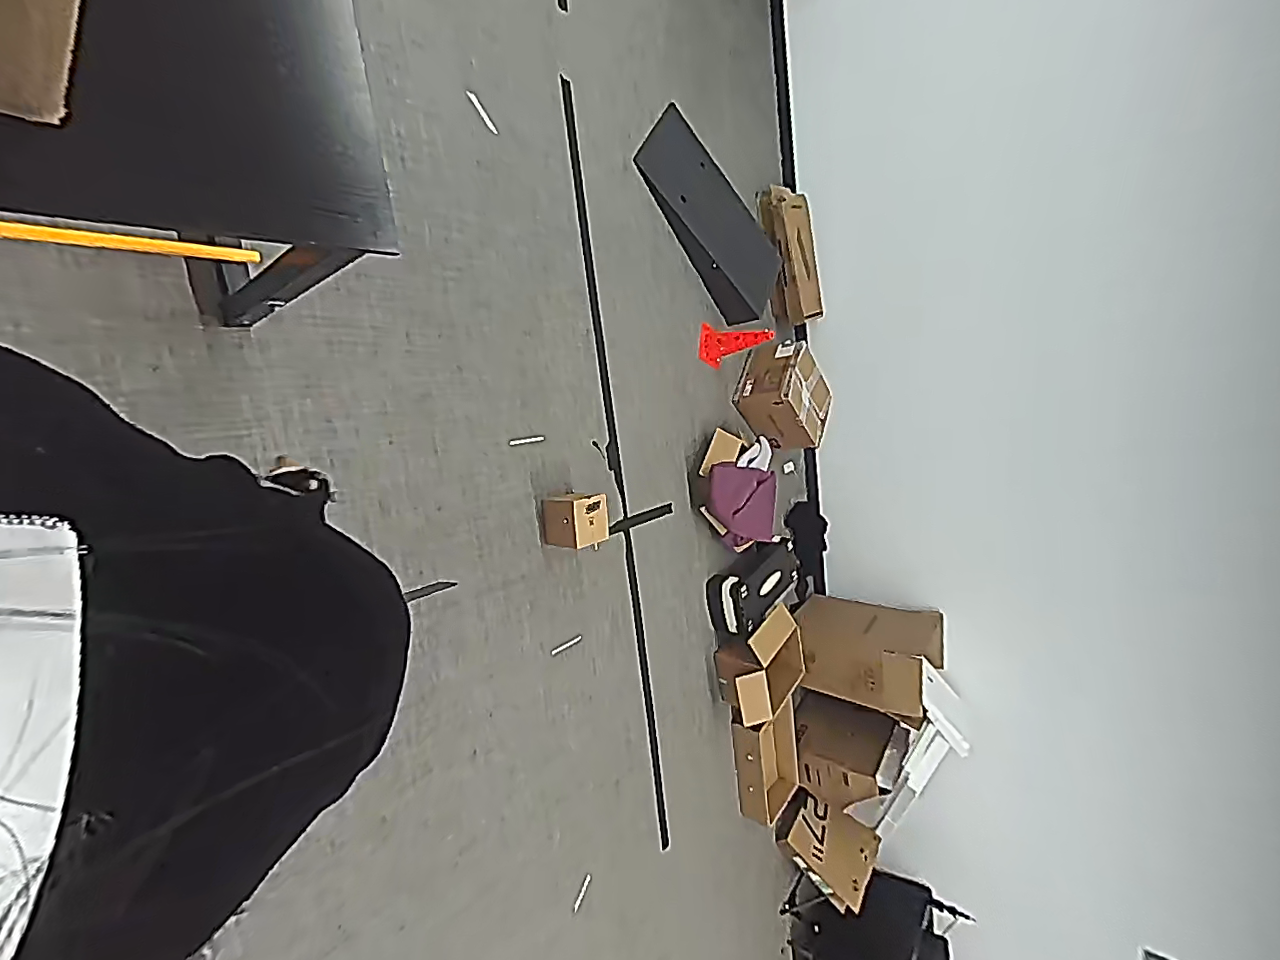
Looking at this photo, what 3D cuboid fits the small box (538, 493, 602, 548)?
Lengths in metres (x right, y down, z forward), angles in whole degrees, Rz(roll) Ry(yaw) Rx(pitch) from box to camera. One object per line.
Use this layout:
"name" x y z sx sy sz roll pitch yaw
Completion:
"small box" -0.260 0.144 1.993 0.168 0.176 0.179 -12 101 -49
